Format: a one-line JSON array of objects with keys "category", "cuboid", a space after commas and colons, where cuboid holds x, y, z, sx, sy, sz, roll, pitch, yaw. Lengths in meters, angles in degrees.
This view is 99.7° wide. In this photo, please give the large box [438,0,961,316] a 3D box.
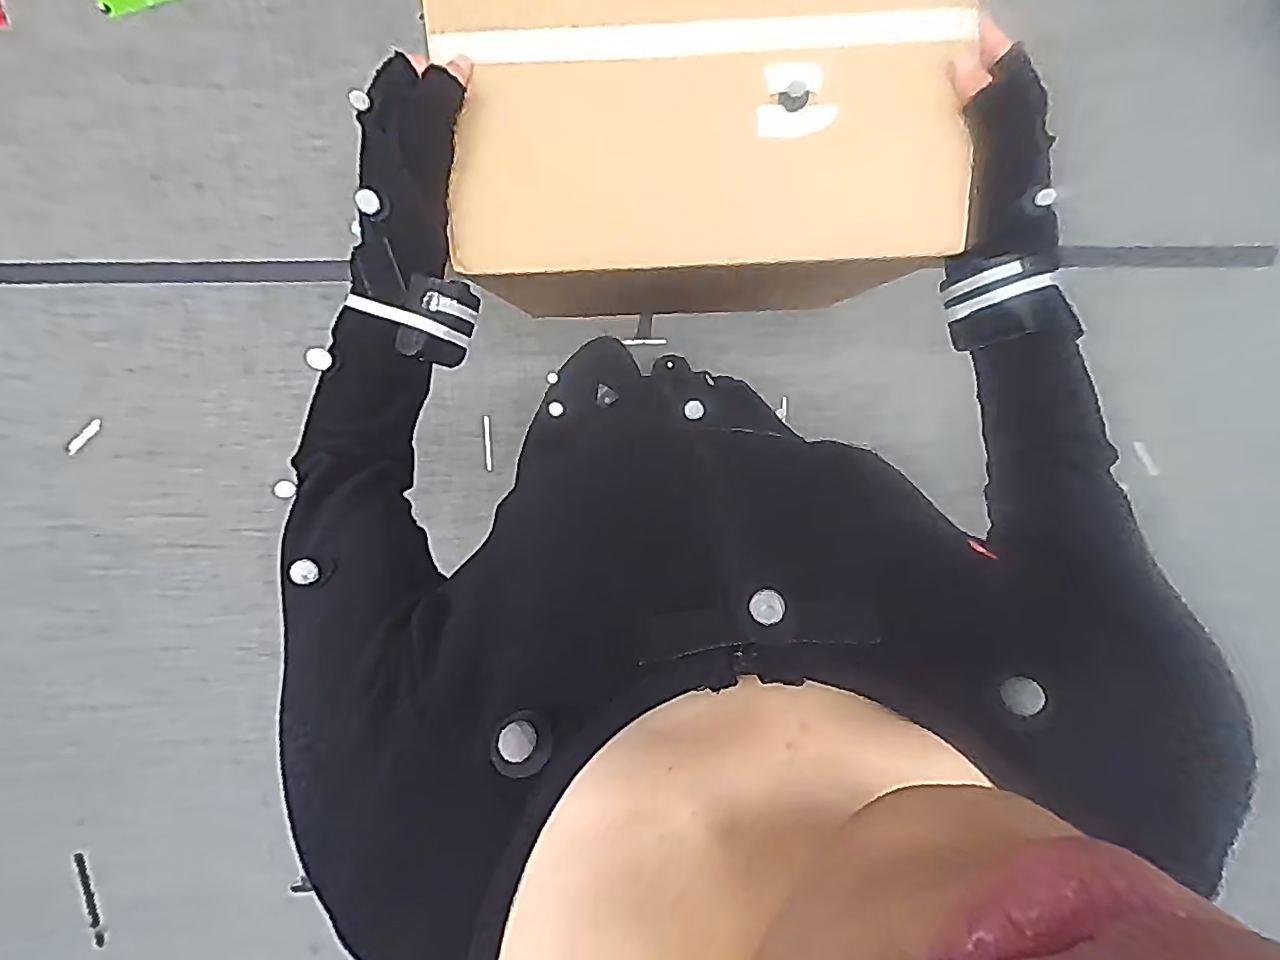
[{"category": "large box", "cuboid": [0.044, -0.358, 0.561, 0.408, 0.320, 0.320, -2, 100, 0]}]
